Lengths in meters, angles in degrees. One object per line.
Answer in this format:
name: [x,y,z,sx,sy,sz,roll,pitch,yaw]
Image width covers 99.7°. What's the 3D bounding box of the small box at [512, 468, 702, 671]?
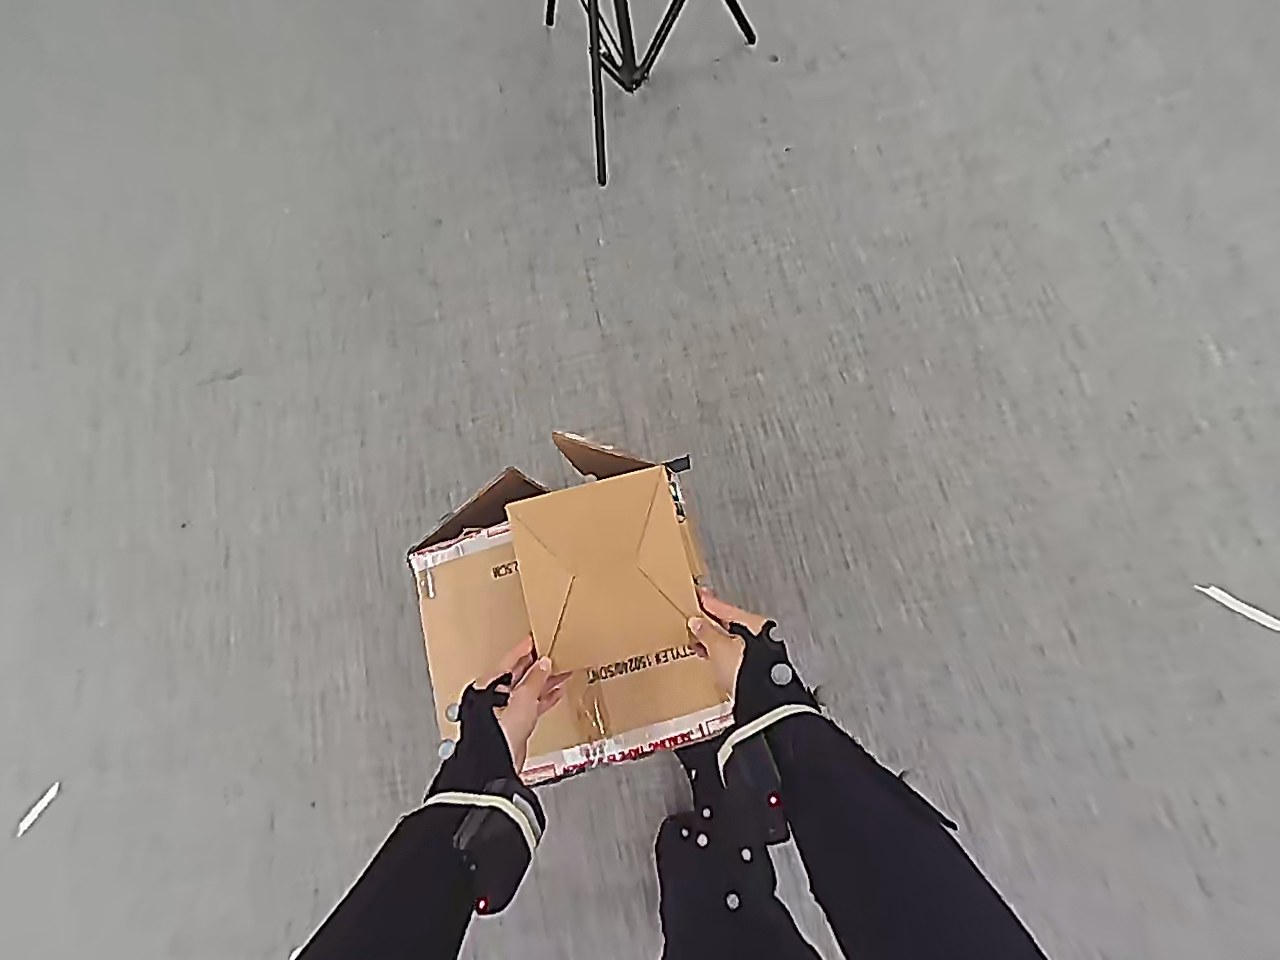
small box: [-0.030,0.097,0.608,0.168,0.176,0.179,-15,83,2]
